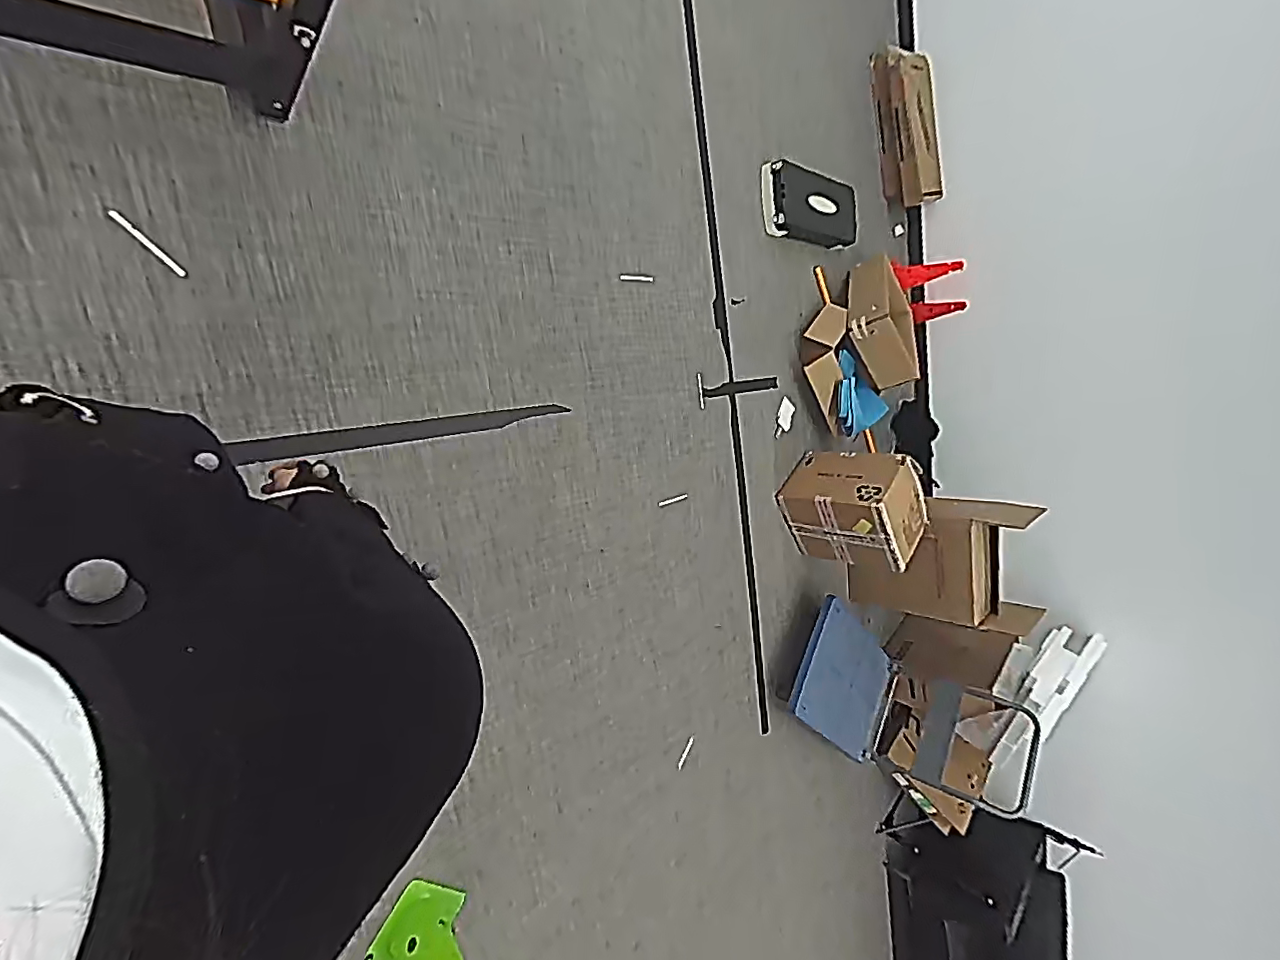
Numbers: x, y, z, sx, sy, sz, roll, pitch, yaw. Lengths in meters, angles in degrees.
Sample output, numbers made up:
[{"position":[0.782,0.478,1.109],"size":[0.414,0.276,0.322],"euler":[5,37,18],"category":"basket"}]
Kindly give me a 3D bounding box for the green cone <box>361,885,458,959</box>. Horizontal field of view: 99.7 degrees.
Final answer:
[{"position":[-0.479,1.192,1.293],"size":[0.200,0.368,0.202],"euler":[49,59,-34],"category":"green cone"}]
